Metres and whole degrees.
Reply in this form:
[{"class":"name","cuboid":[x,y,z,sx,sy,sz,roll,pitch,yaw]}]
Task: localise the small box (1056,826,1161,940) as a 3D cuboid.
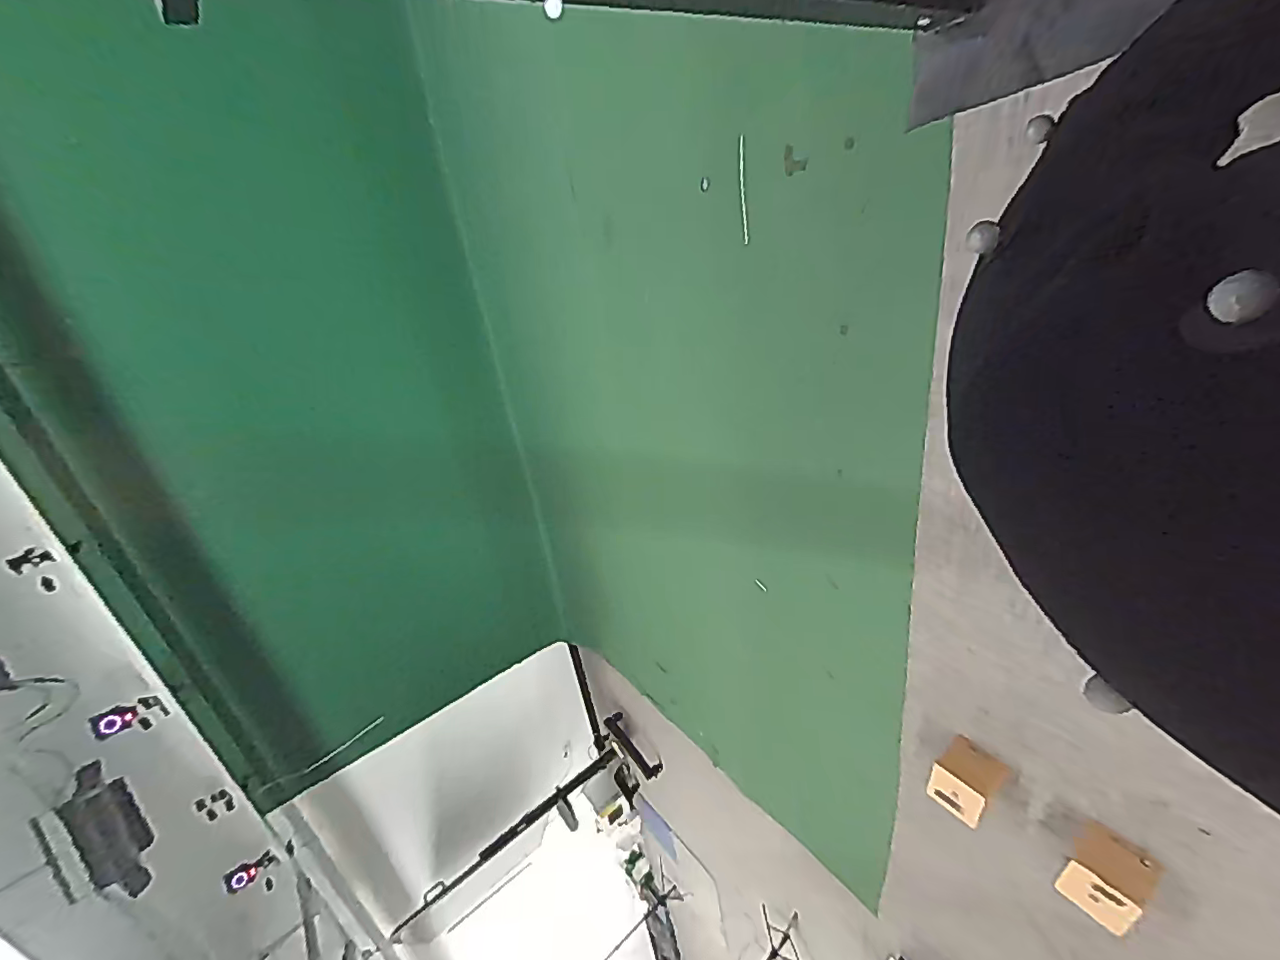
[{"class":"small box","cuboid":[1.351,1.151,1.558,0.168,0.176,0.179,32,137,45]}]
